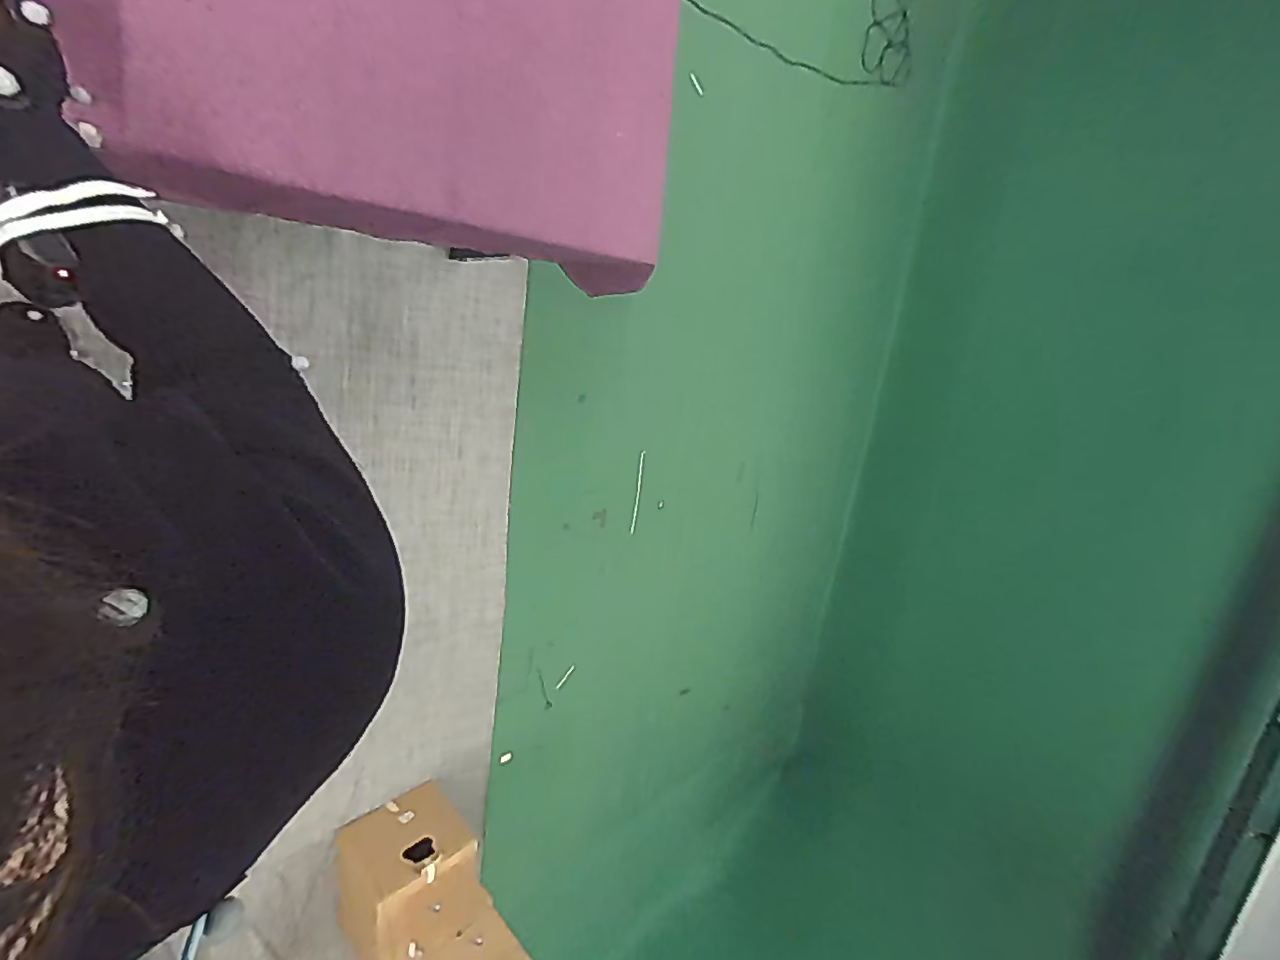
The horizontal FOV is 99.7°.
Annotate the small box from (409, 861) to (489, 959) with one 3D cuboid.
[{"bbox_3d":[-0.571,1.297,1.605,0.179,0.176,0.168,-11,113,-47],"label":"small box"}]

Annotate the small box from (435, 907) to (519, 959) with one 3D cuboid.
[{"bbox_3d":[-0.453,1.345,1.502,0.168,0.176,0.179,-16,117,-44],"label":"small box"}]

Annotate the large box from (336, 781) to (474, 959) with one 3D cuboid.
[{"bbox_3d":[-0.767,1.305,1.766,0.320,0.320,0.408,-9,112,-46],"label":"large box"}]
